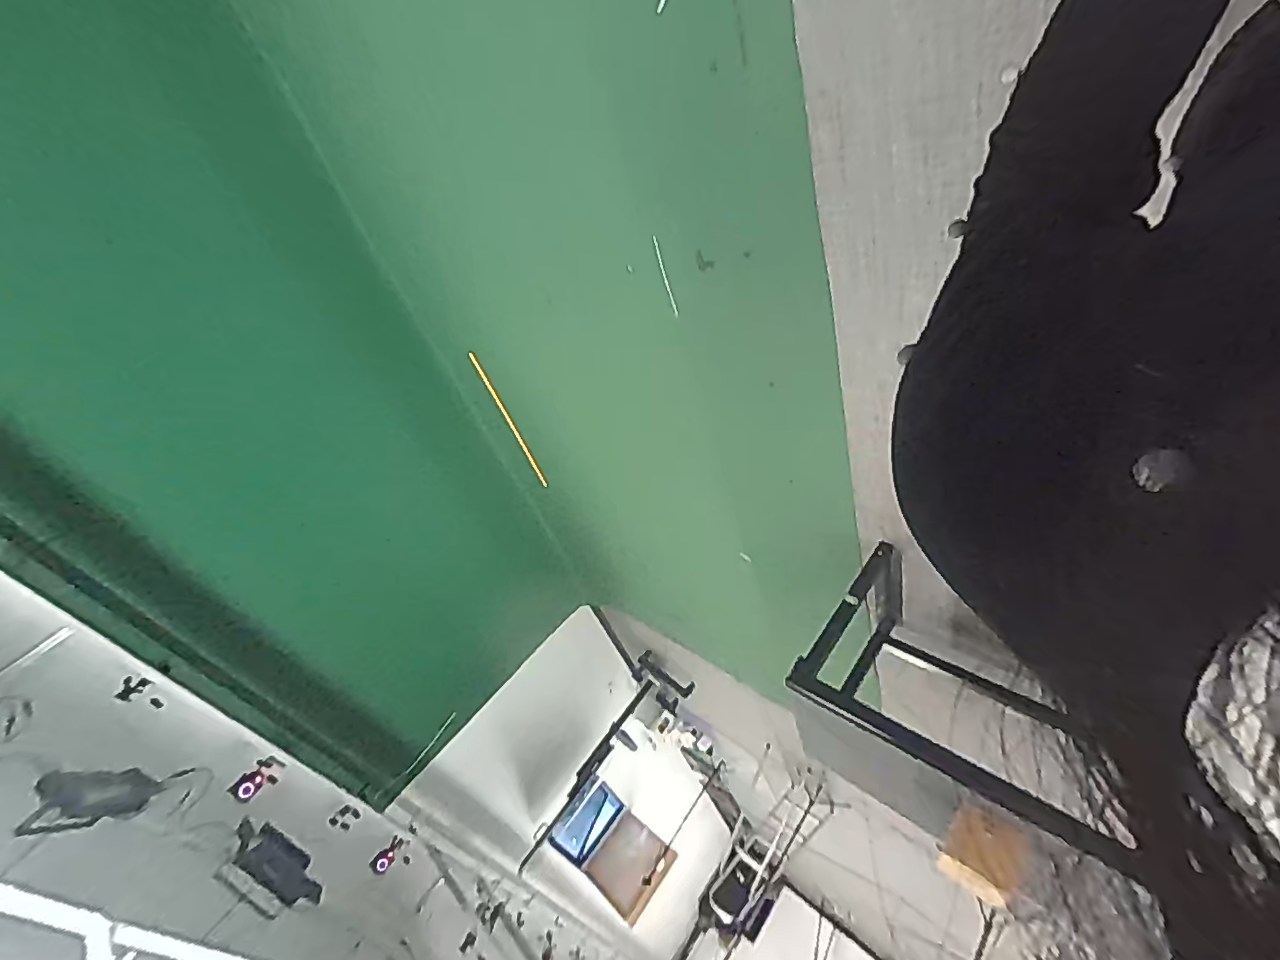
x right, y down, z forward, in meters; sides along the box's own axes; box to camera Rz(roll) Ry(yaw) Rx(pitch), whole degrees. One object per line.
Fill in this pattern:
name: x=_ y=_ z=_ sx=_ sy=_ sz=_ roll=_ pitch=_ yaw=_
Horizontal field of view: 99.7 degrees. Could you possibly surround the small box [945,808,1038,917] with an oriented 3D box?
small box: x=0.983 y=1.068 z=1.516 sx=0.168 sy=0.176 sz=0.179 roll=23 pitch=146 yaw=38
